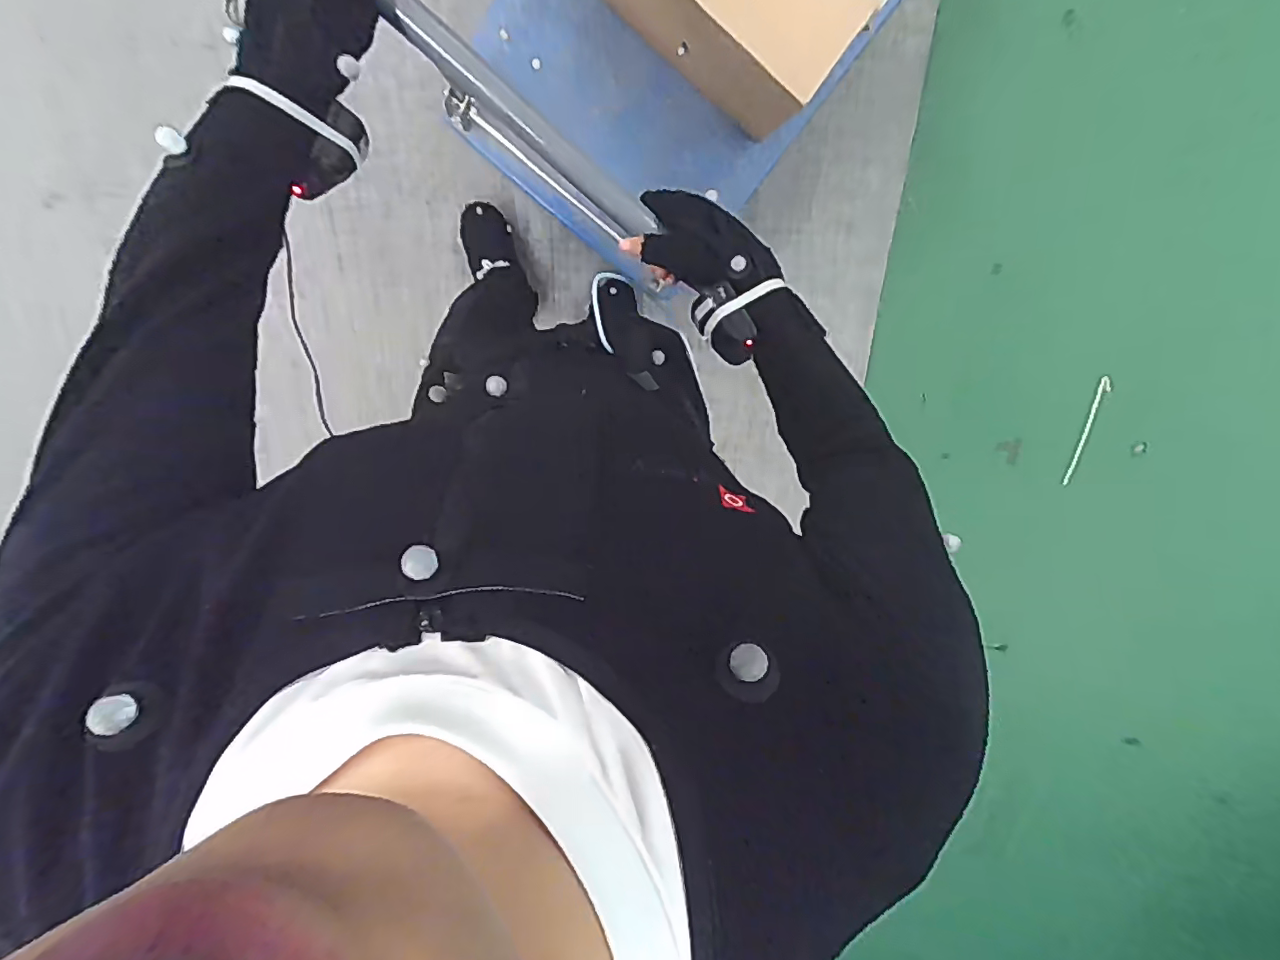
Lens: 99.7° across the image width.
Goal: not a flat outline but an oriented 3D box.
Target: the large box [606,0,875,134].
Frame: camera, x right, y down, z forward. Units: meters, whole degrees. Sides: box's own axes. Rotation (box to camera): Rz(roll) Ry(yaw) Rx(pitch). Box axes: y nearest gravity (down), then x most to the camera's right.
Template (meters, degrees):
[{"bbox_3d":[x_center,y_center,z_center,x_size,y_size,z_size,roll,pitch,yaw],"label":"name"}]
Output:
[{"bbox_3d":[0.168,-0.833,0.839,0.408,0.320,0.320,33,108,-14],"label":"large box"}]
